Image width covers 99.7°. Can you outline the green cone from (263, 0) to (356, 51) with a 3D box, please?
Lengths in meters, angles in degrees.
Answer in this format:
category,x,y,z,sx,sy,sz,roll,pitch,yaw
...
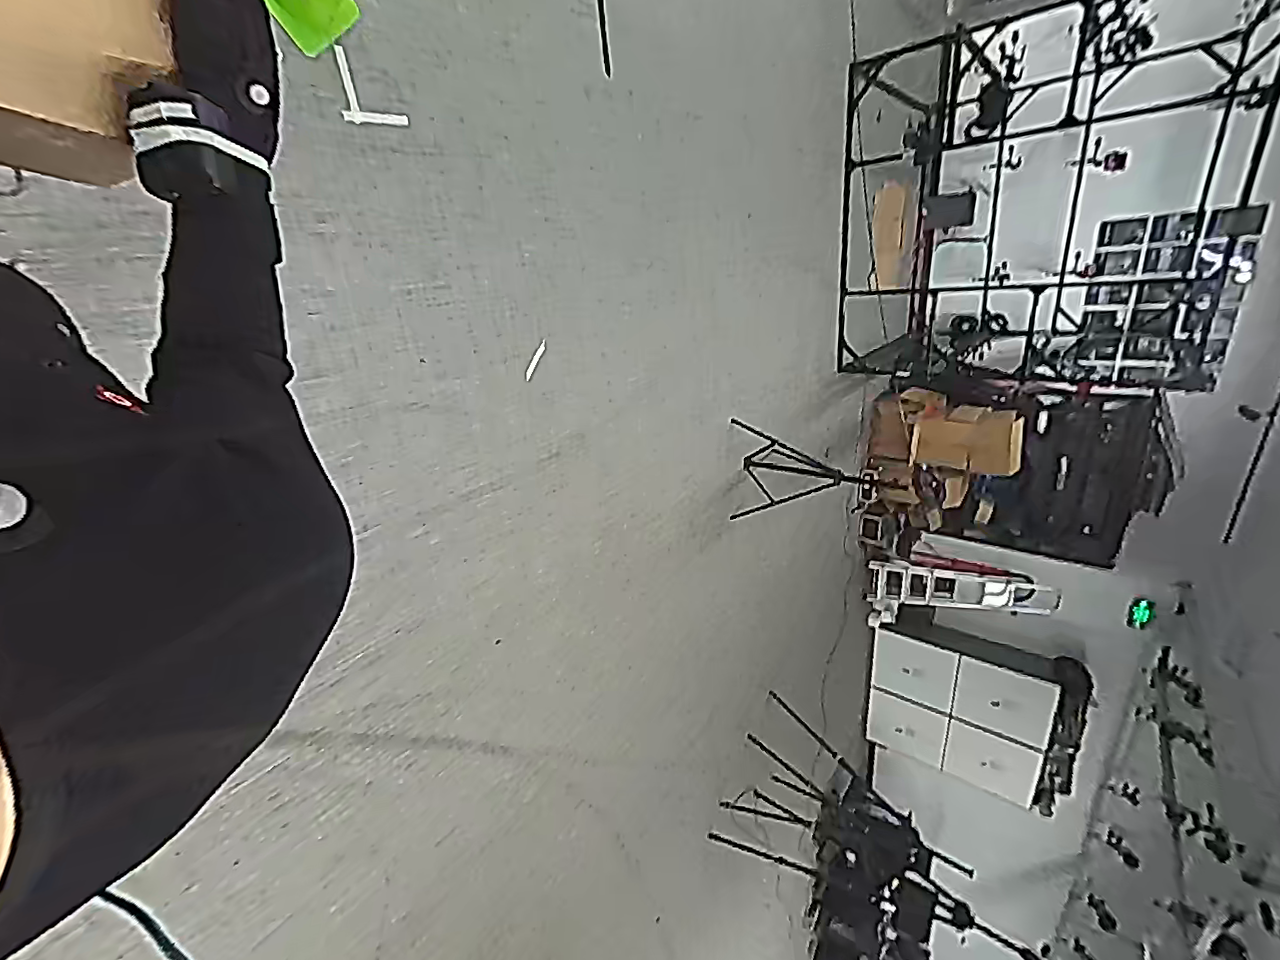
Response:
category,x,y,z,sx,sy,sz,roll,pitch,yaw
green cone,-0.627,-1.080,1.102,0.200,0.368,0.202,50,59,-47

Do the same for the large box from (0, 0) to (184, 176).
category,x,y,z,sx,sy,sz,roll,pitch,yaw
large box,-0.573,-0.413,0.310,0.408,0.320,0.320,-11,113,-52
